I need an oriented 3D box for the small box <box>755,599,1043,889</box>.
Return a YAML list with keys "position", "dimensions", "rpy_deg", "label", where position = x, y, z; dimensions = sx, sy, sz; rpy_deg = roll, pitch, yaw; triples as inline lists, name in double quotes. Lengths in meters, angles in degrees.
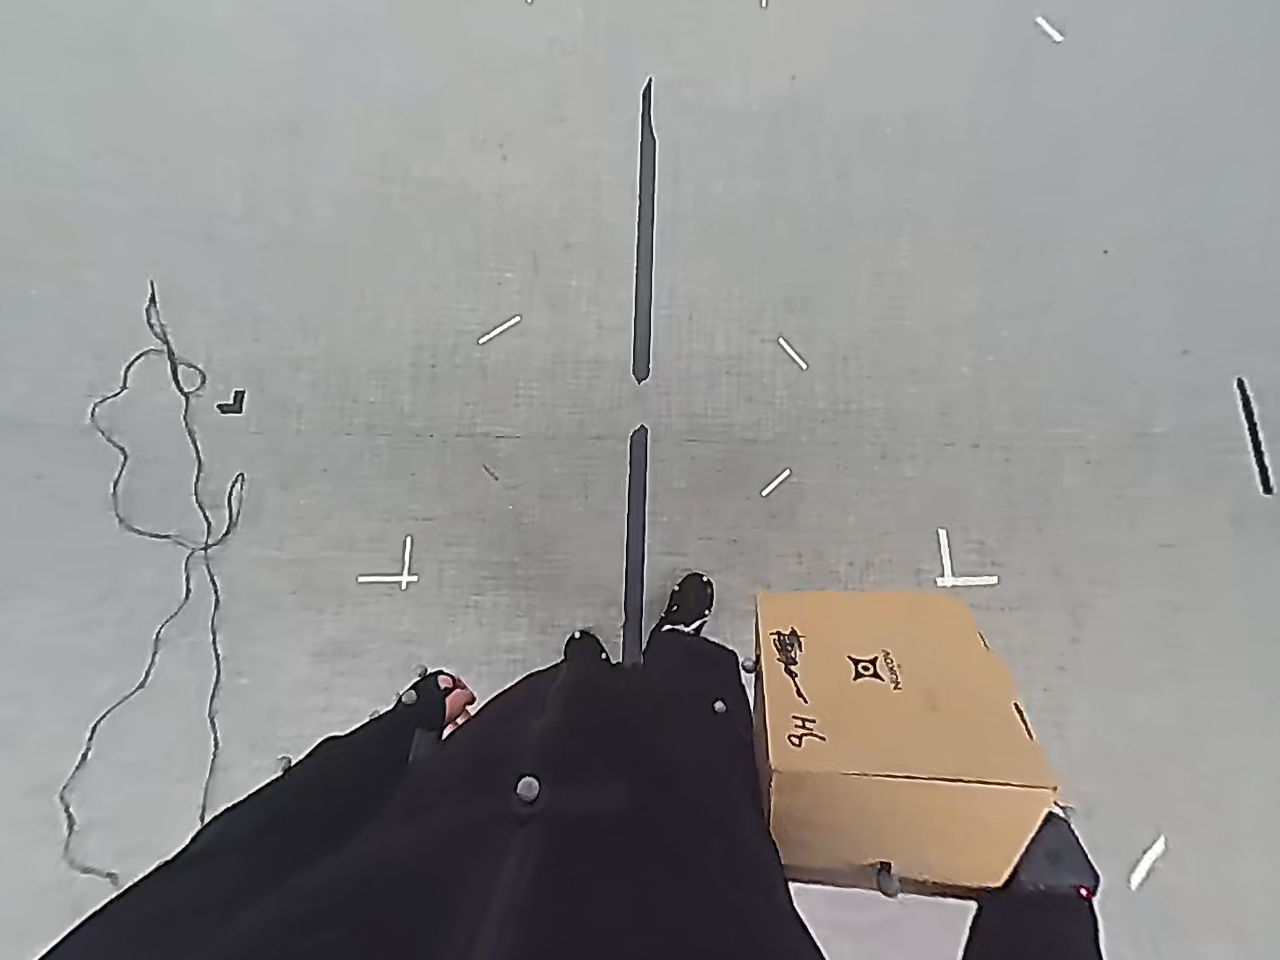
- position: [0.195, 0.224, 0.471]
  dimensions: [0.179, 0.168, 0.176]
  rpy_deg: [-1, 122, 9]
  label: "small box"
